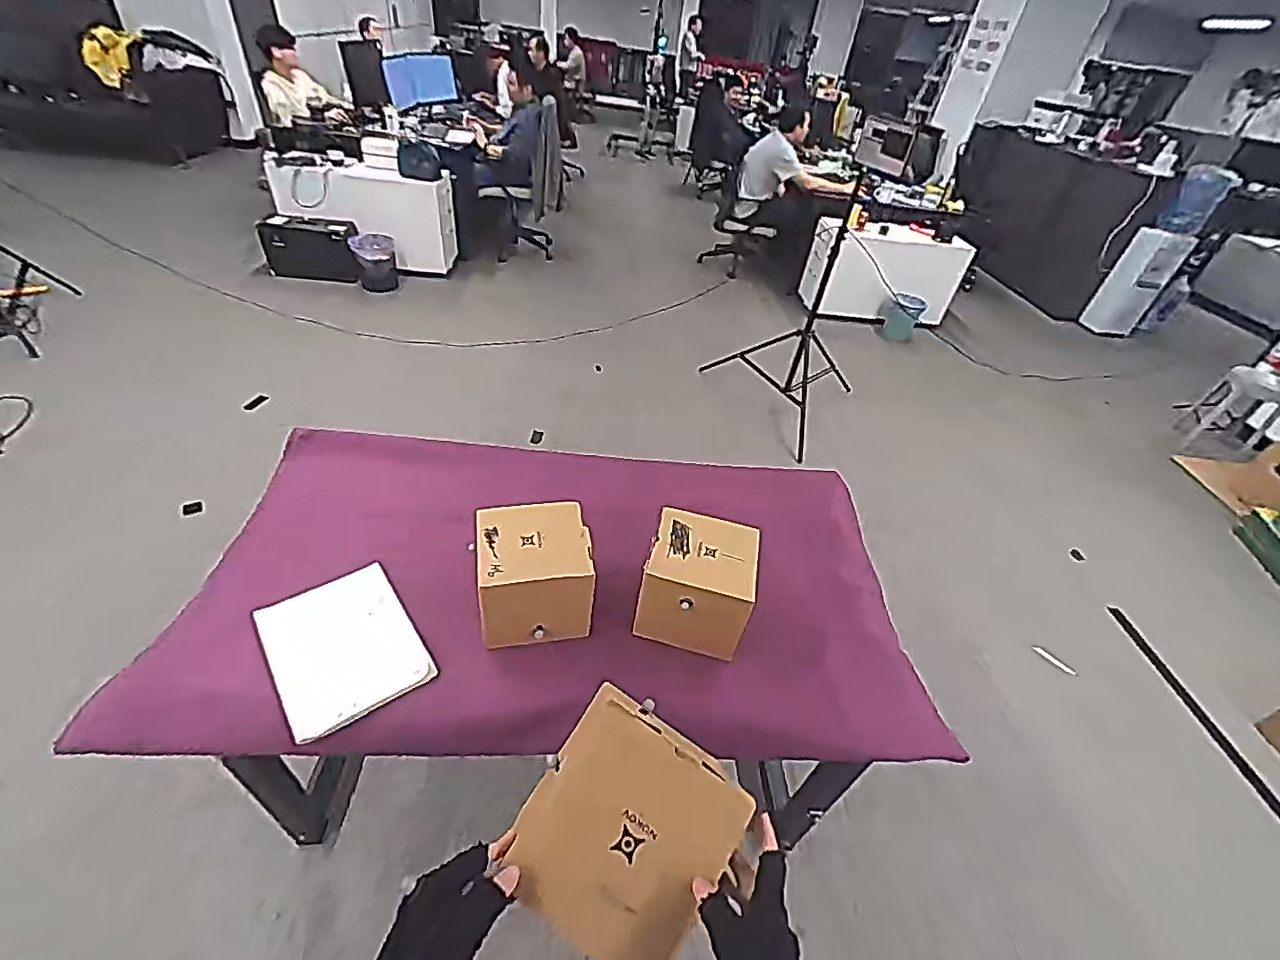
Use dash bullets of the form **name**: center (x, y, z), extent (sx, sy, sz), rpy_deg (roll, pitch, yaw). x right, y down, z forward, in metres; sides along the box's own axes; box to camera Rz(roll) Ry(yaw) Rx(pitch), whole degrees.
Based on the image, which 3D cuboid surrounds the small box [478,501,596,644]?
- **small box**: center (-0.181, 0.155, 0.918), extent (0.179, 0.176, 0.168), rpy_deg (-4, 41, -15)

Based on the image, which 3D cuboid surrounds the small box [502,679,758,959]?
- **small box**: center (-0.012, 0.321, 0.546), extent (0.168, 0.176, 0.179), rpy_deg (32, 73, 7)

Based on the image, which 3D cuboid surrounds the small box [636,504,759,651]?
- **small box**: center (0.098, 0.171, 0.944), extent (0.179, 0.176, 0.168), rpy_deg (14, 39, 6)
